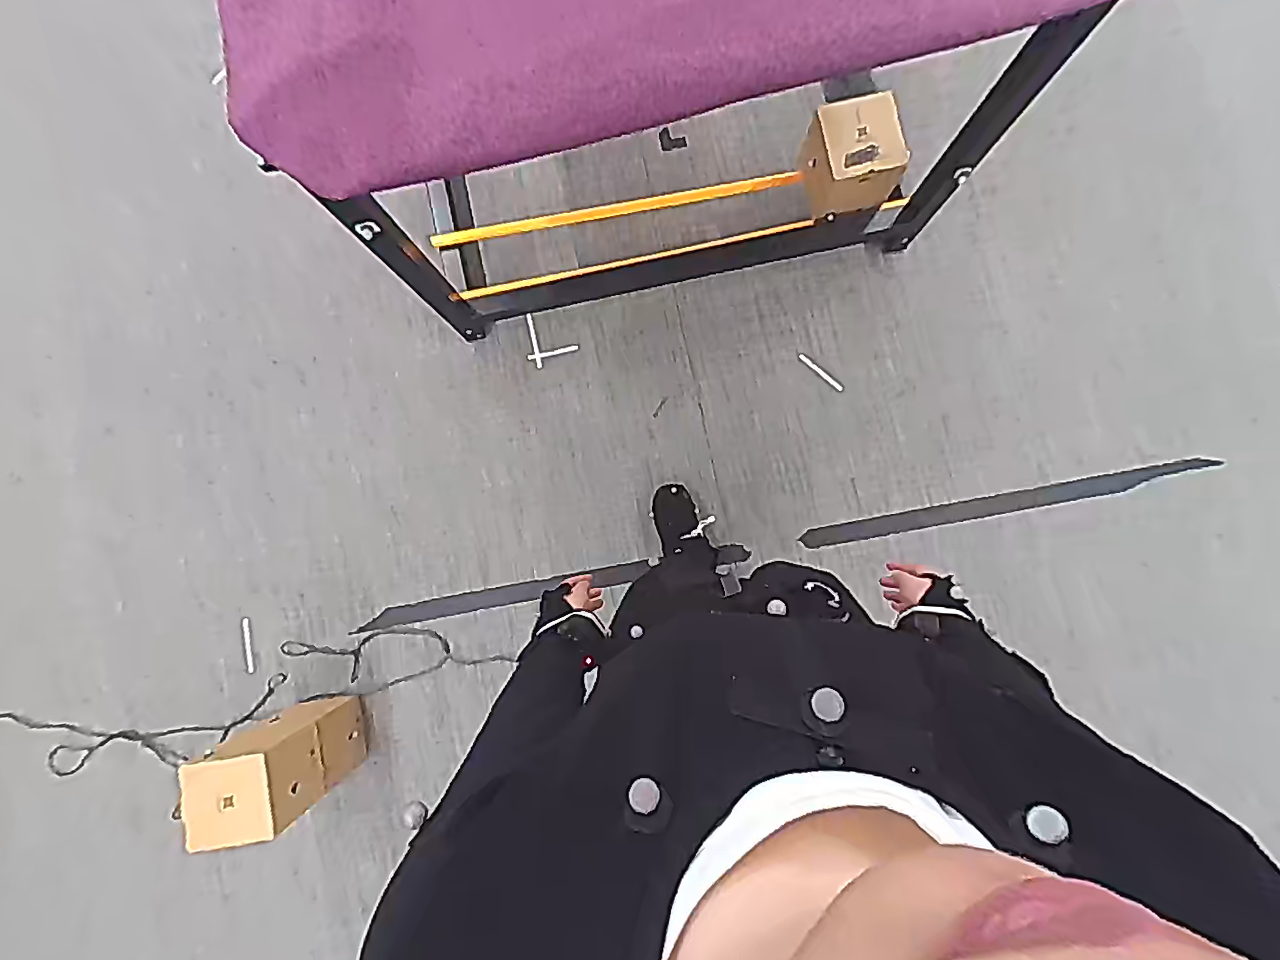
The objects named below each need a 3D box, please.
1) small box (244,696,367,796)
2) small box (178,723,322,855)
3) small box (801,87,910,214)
[{"bbox_3d":[-0.778,0.627,1.269,0.179,0.176,0.168,-10,87,1],"label":"small box"},{"bbox_3d":[-0.782,0.620,1.107,0.179,0.176,0.168,-10,87,2],"label":"small box"},{"bbox_3d":[0.478,-0.730,1.224,0.168,0.176,0.179,-11,85,2],"label":"small box"}]
